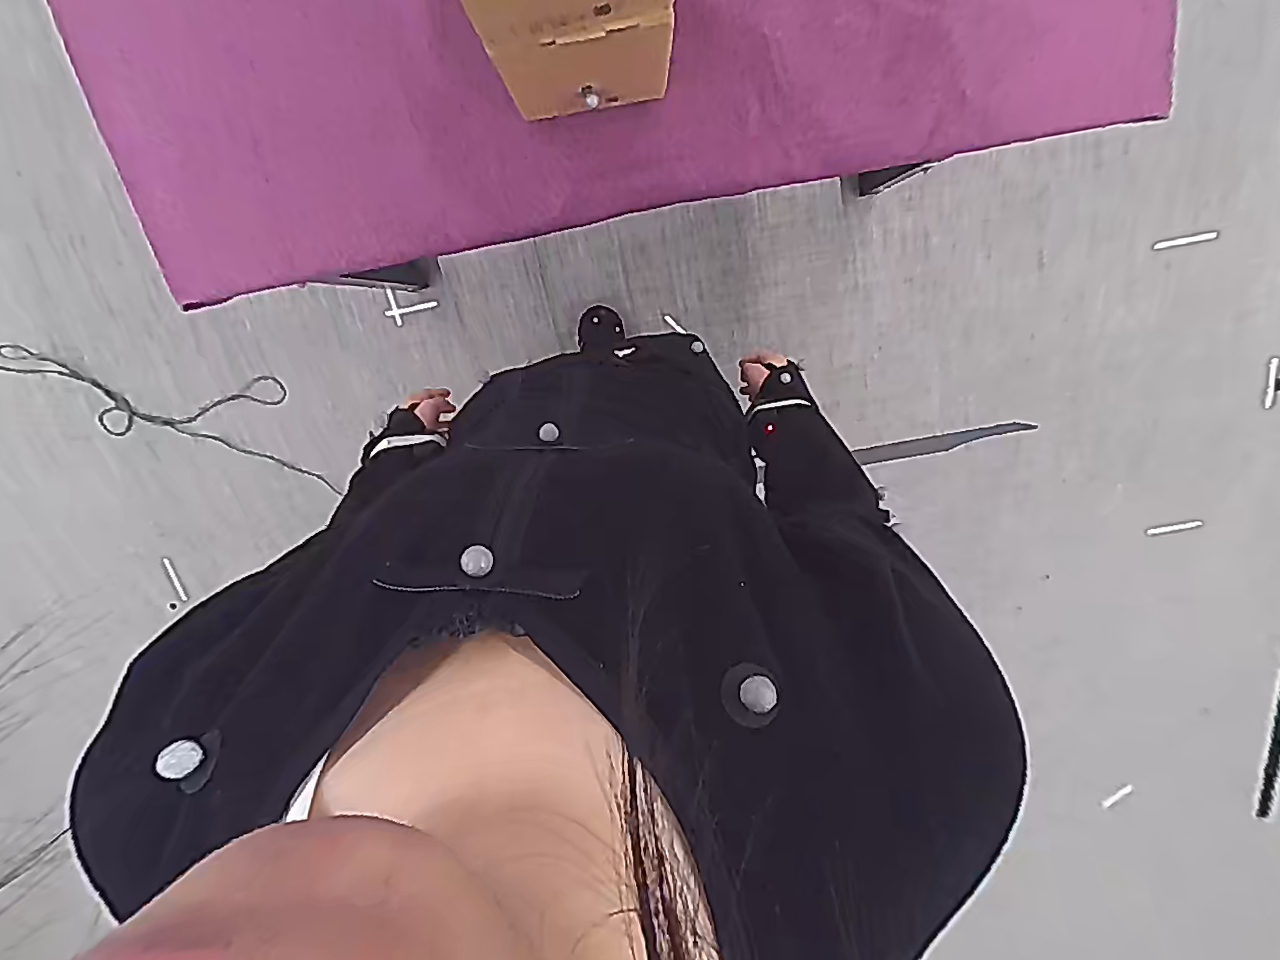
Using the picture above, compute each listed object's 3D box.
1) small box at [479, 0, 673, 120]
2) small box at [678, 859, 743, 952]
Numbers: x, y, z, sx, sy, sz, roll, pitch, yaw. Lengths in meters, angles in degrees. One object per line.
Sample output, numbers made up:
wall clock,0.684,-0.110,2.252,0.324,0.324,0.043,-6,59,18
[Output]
small box,-0.065,-0.486,0.522,0.168,0.176,0.179,-9,106,2
small box,0.236,1.448,1.846,0.168,0.176,0.179,-20,106,4
